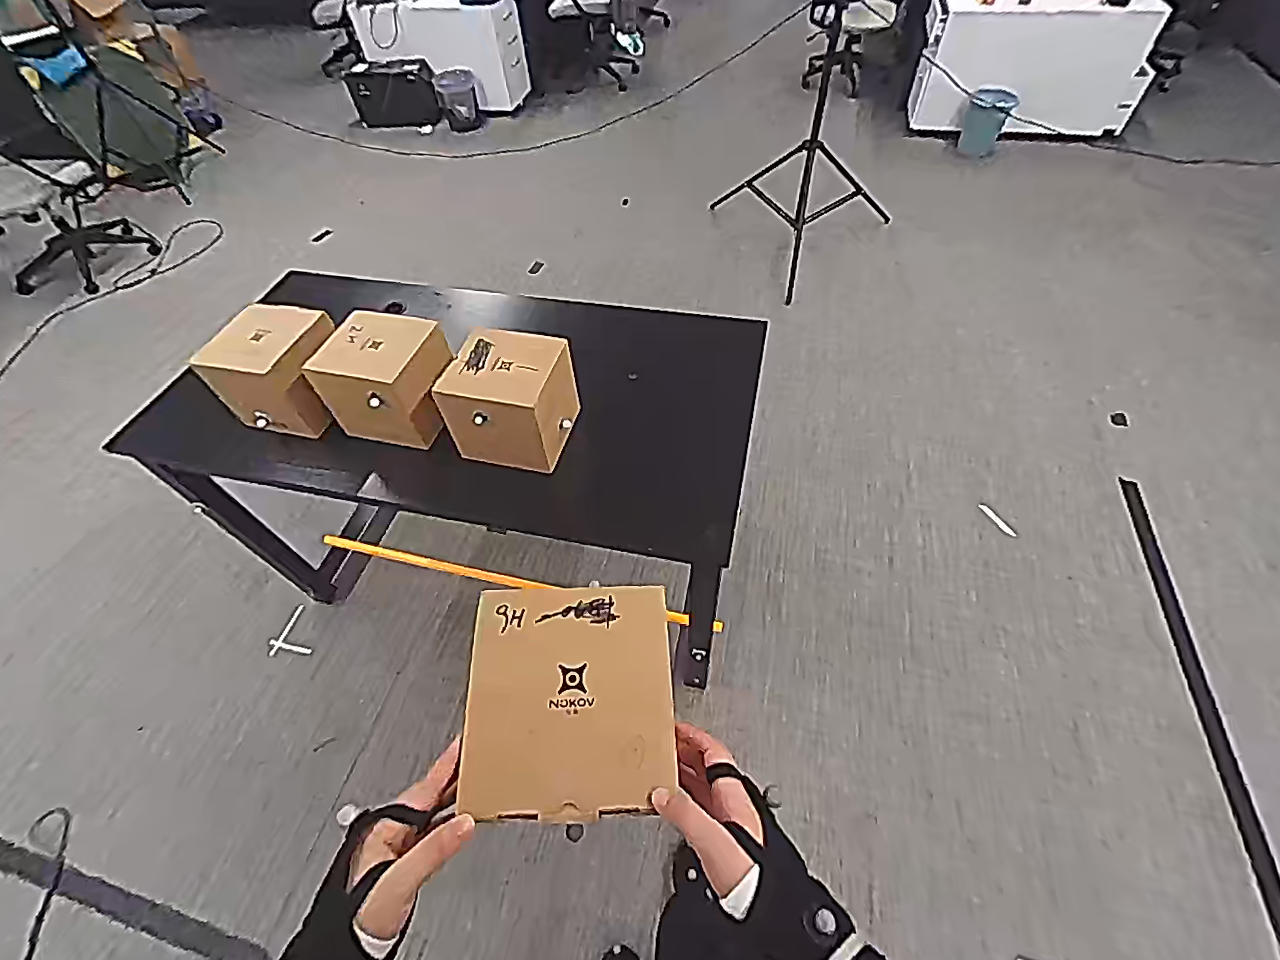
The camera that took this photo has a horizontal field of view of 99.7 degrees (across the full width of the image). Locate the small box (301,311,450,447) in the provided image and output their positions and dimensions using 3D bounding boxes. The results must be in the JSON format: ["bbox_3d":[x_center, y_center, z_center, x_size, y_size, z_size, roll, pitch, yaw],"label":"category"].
[{"bbox_3d":[-0.454,-0.179,0.984,0.179,0.176,0.168,10,54,11],"label":"small box"}]

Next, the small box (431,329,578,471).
[{"bbox_3d":[-0.221,-0.135,0.936,0.179,0.176,0.168,10,54,10],"label":"small box"}]

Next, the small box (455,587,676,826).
[{"bbox_3d":[-0.057,0.212,0.503,0.168,0.176,0.179,-1,59,-3],"label":"small box"}]

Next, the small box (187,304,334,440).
[{"bbox_3d":[-0.670,-0.202,1.017,0.168,0.176,0.179,8,55,11],"label":"small box"}]
